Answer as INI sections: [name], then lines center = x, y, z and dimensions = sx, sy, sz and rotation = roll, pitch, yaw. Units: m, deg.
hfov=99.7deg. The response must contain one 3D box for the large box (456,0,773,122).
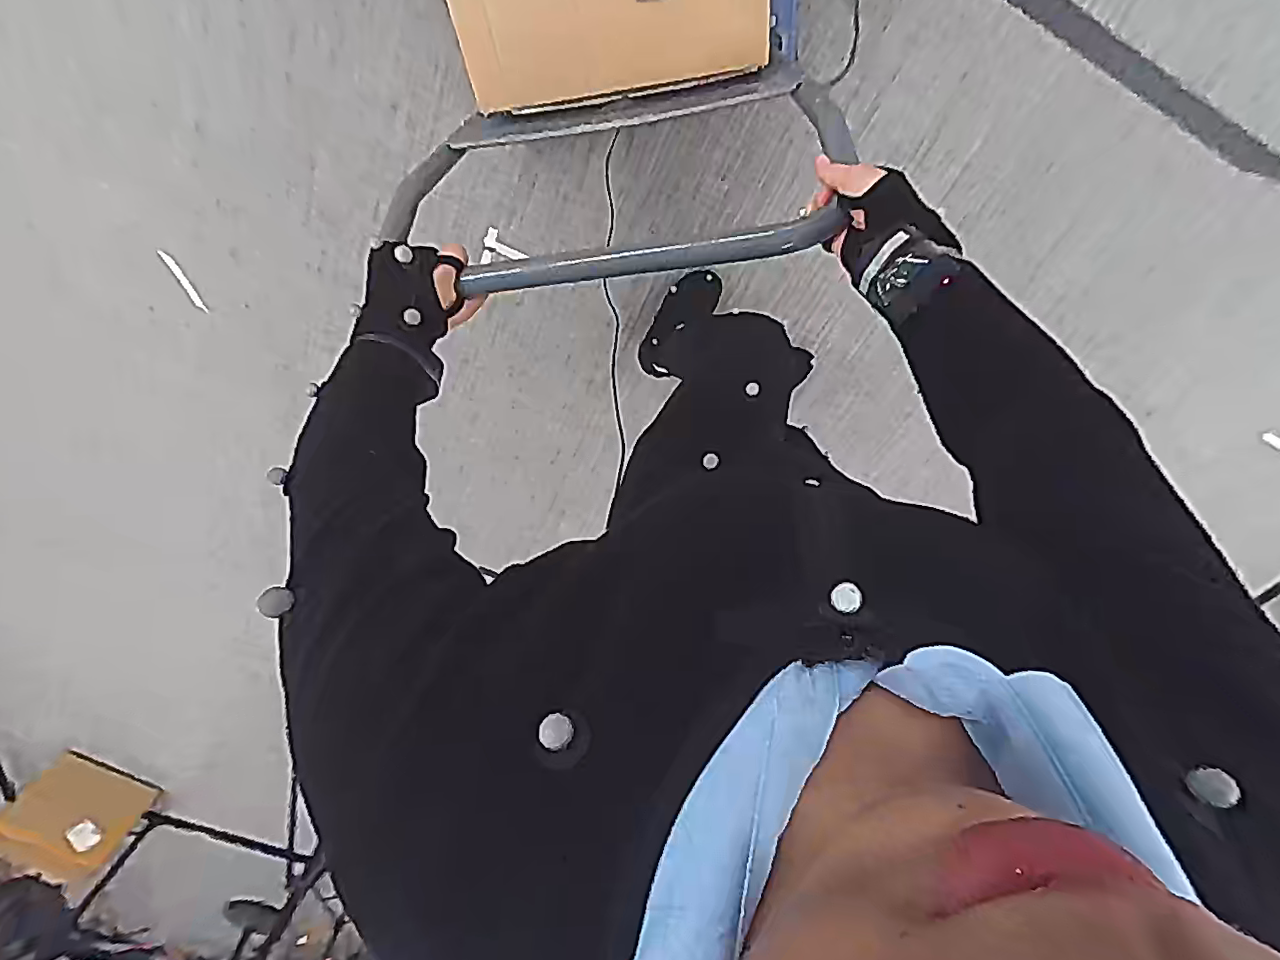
[large box]
center = -0.040, -0.744, 0.761
dimensions = 0.408, 0.320, 0.320
rotation = -5, 132, 7
